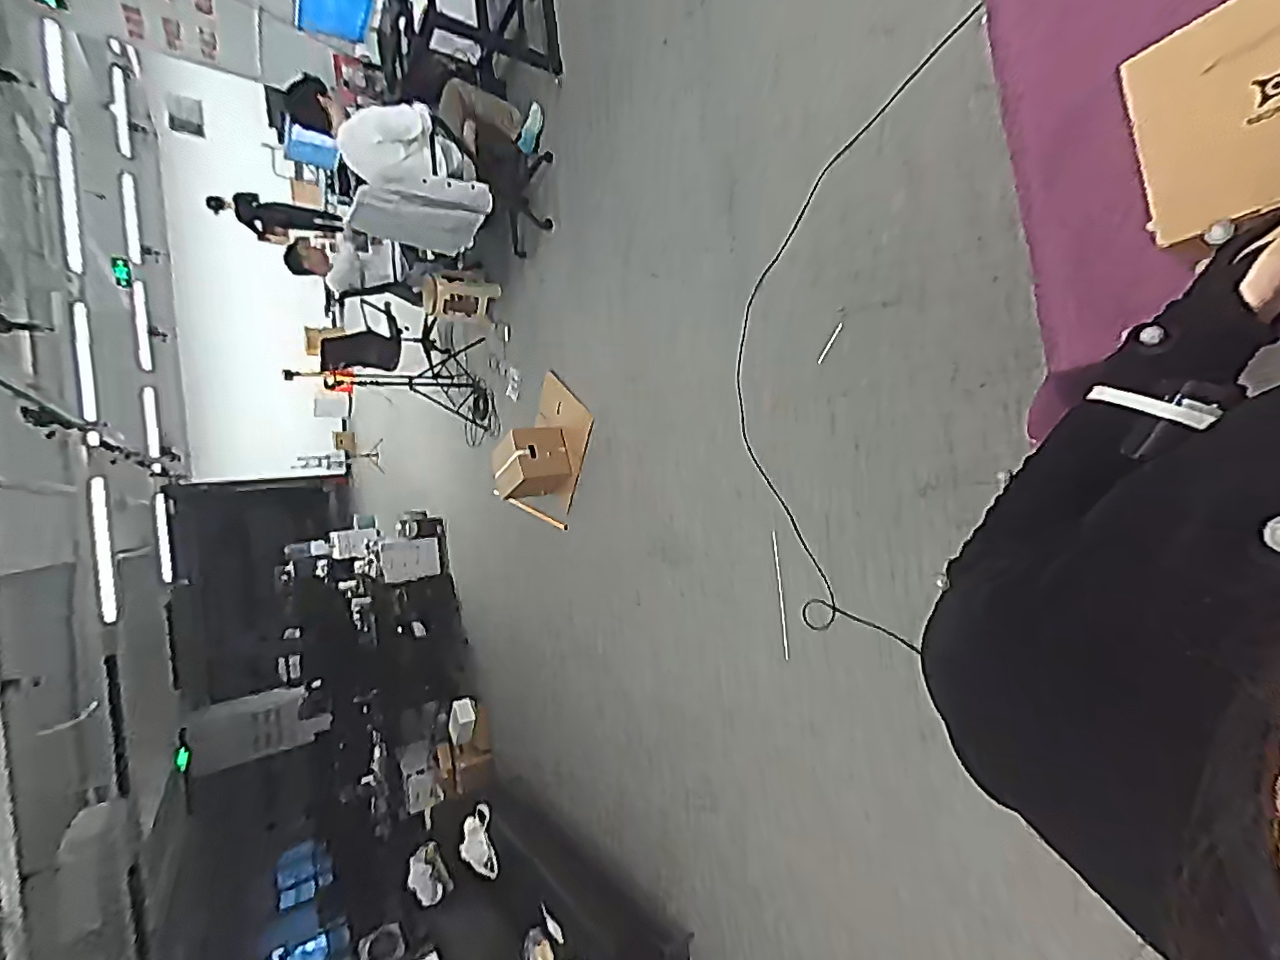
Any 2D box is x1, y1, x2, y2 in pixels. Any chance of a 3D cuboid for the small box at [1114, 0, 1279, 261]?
[{"bbox_3d":[0.556,-0.310,0.471,0.168,0.176,0.179,-13,84,53],"label":"small box"}]
